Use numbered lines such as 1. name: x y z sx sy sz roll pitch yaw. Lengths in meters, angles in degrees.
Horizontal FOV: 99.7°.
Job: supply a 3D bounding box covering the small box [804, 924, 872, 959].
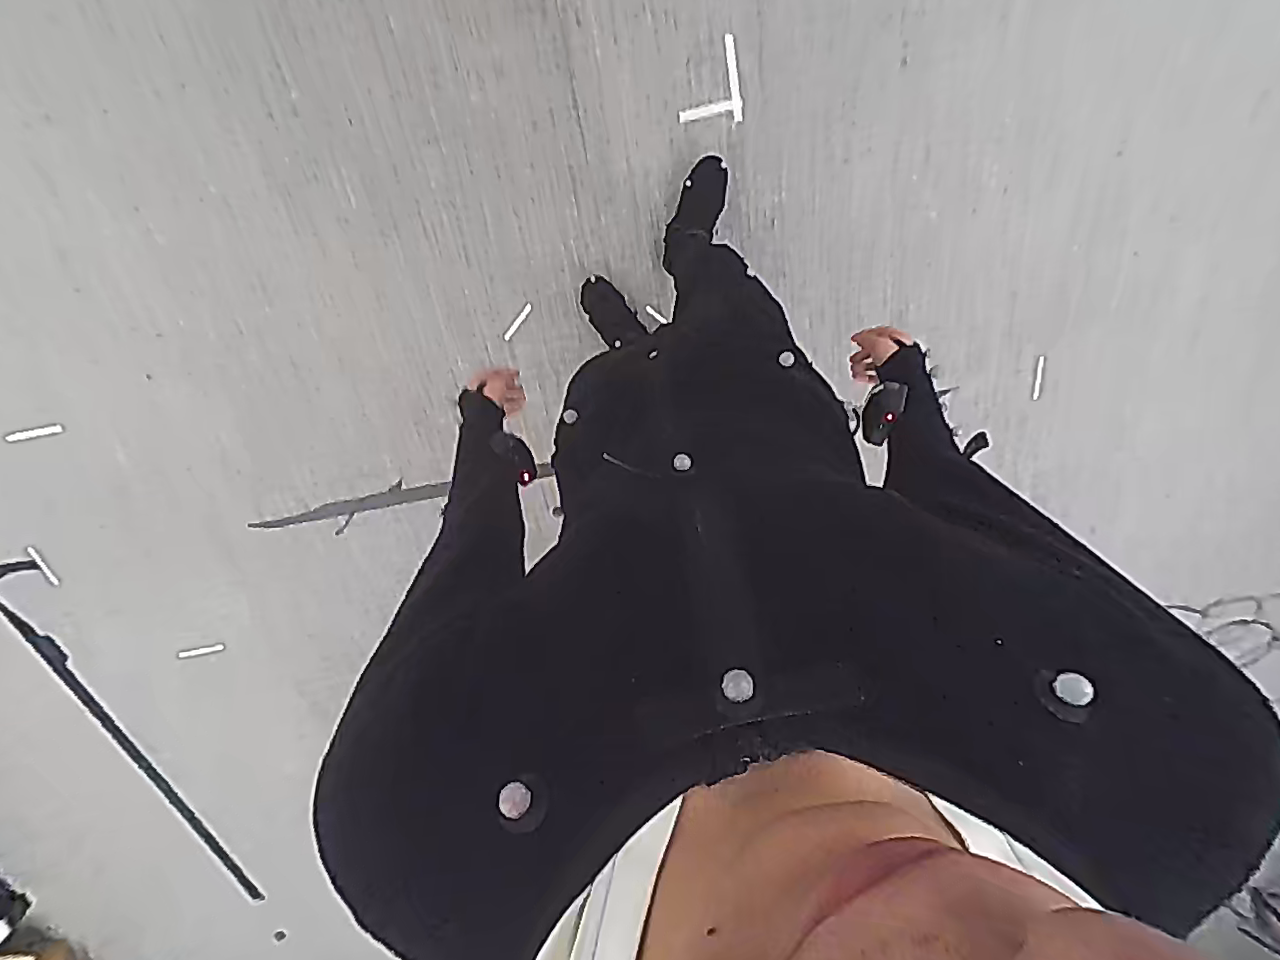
1. small box: 0.564 1.387 1.503 0.168 0.176 0.179 -10 113 -1
